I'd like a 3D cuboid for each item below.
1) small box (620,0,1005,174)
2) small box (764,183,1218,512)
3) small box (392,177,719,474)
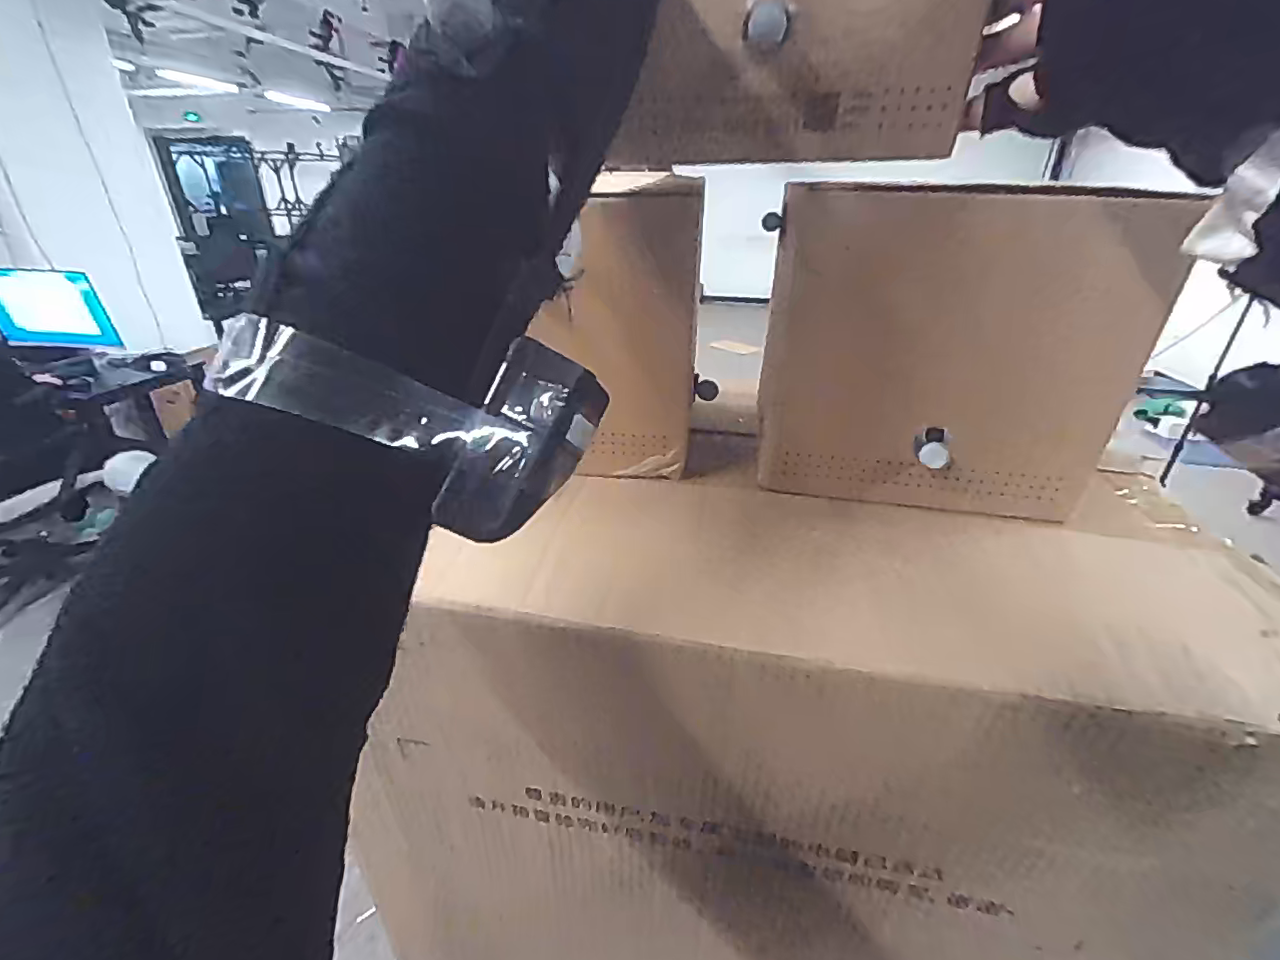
[{"bbox_3d":[0.081,-0.268,0.283,0.168,0.176,0.179,4,37,8],"label":"small box"},{"bbox_3d":[0.182,-0.094,0.354,0.179,0.176,0.168,5,29,8],"label":"small box"},{"bbox_3d":[-0.038,-0.116,0.386,0.179,0.176,0.168,5,32,6],"label":"small box"}]
